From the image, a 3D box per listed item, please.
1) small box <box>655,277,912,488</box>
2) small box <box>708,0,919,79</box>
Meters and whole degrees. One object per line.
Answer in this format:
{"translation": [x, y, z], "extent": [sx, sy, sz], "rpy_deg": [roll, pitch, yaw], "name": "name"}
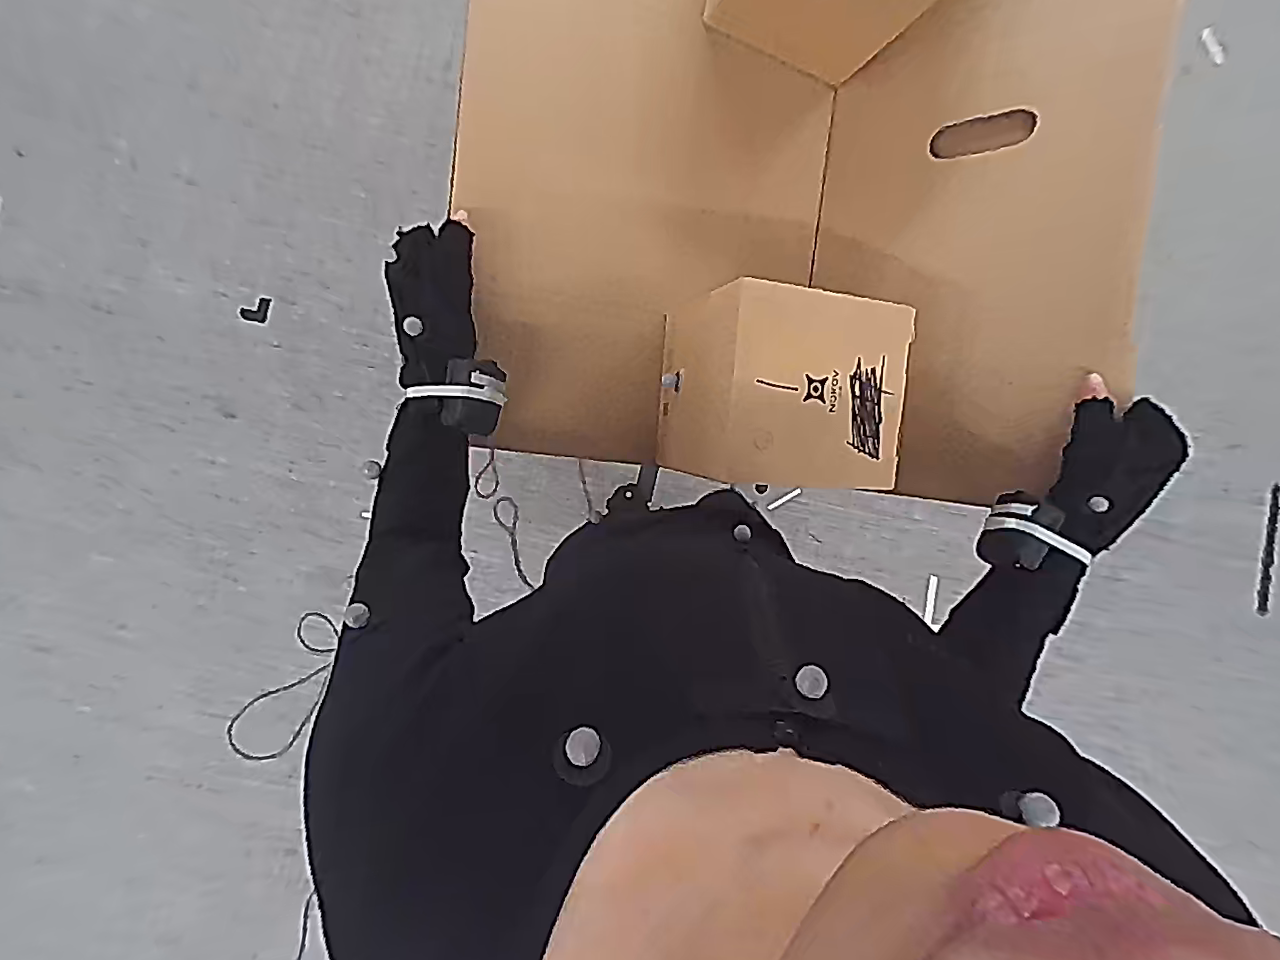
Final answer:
{"translation": [0.130, -0.087, 0.538], "extent": [0.179, 0.176, 0.168], "rpy_deg": [3, 95, -18], "name": "small box"}
{"translation": [0.183, -0.531, 0.510], "extent": [0.179, 0.176, 0.168], "rpy_deg": [9, 93, -20], "name": "small box"}
